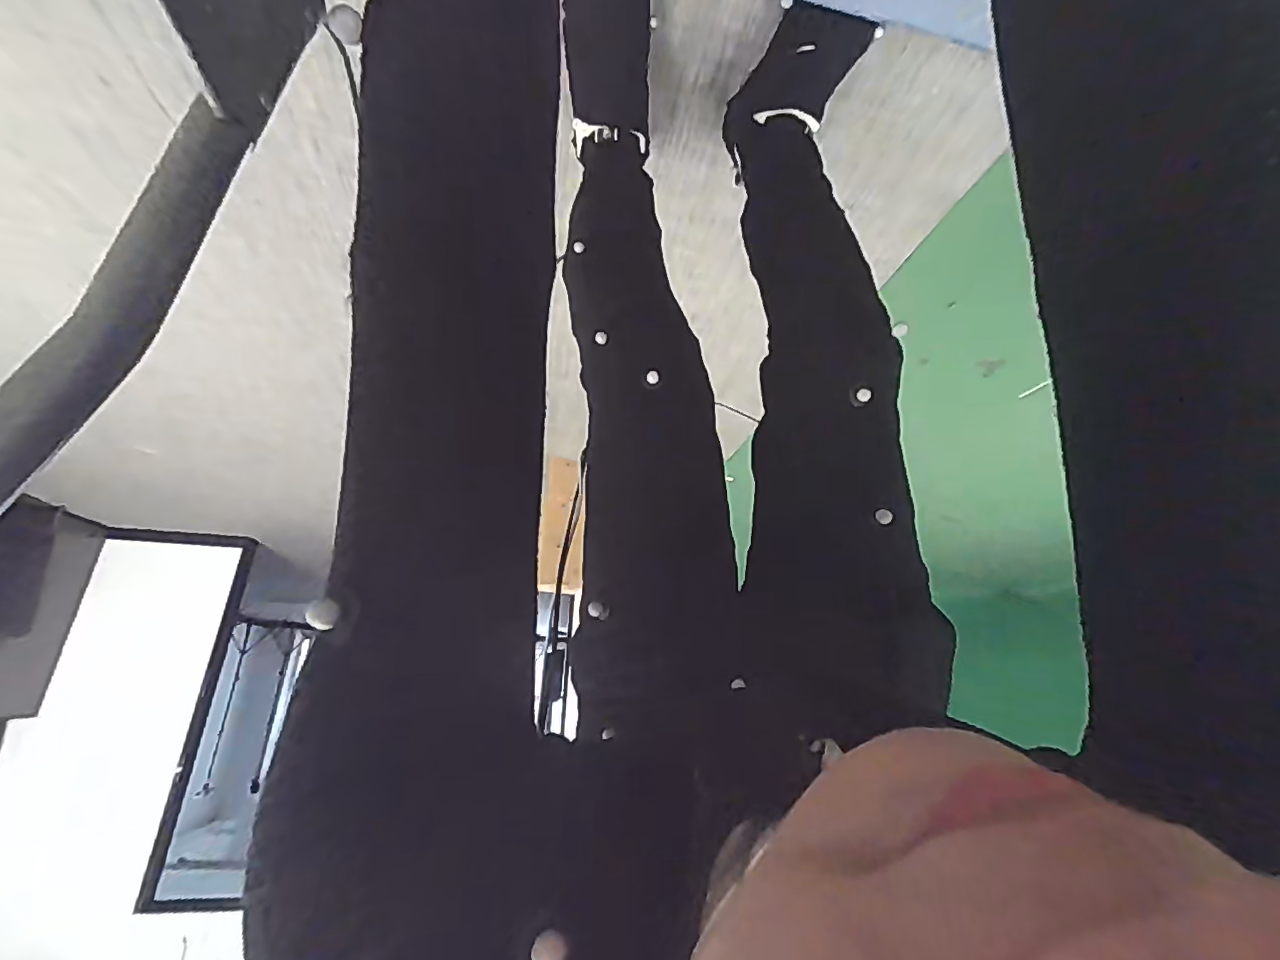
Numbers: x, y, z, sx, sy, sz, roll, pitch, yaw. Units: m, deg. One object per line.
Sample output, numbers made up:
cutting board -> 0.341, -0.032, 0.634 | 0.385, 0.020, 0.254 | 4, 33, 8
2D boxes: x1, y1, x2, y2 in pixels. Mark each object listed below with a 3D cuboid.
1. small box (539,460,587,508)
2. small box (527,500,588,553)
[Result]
small box -> -0.311, 0.031, 2.170 | 0.168, 0.176, 0.179 | 9, 158, -15
small box -> -0.320, 0.181, 2.131 | 0.168, 0.176, 0.179 | -18, 151, 38
